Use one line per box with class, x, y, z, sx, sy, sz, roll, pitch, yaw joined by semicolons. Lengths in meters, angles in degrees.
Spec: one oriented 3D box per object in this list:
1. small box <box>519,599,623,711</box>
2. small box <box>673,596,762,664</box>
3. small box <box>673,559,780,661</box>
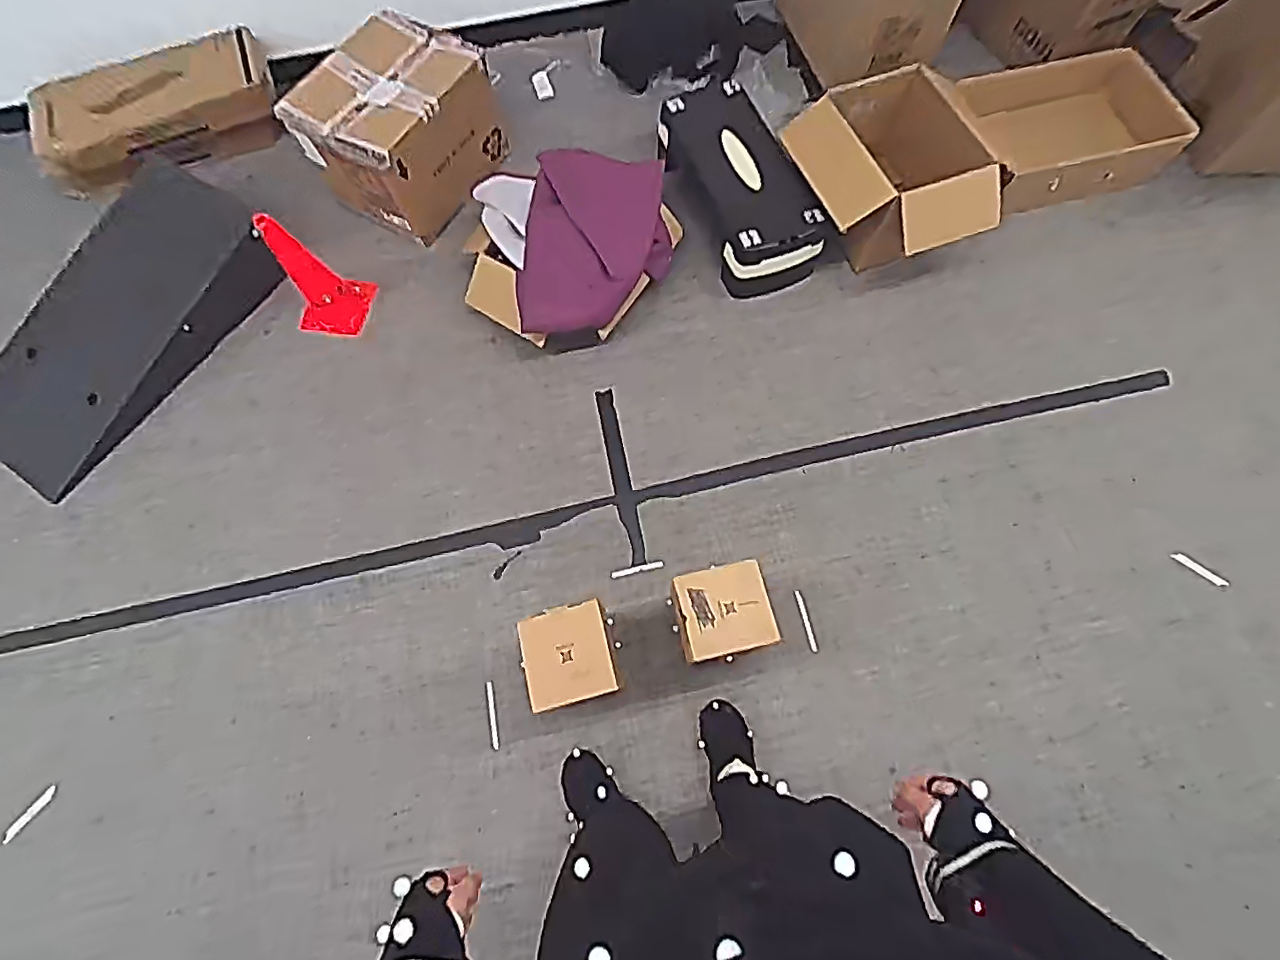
small box;-0.135;0.357;1.107;0.168;0.176;0.179;-15;73;-2
small box;0.176;0.329;1.282;0.168;0.176;0.179;-10;72;-4
small box;0.169;0.277;1.126;0.179;0.176;0.168;-12;71;-4
